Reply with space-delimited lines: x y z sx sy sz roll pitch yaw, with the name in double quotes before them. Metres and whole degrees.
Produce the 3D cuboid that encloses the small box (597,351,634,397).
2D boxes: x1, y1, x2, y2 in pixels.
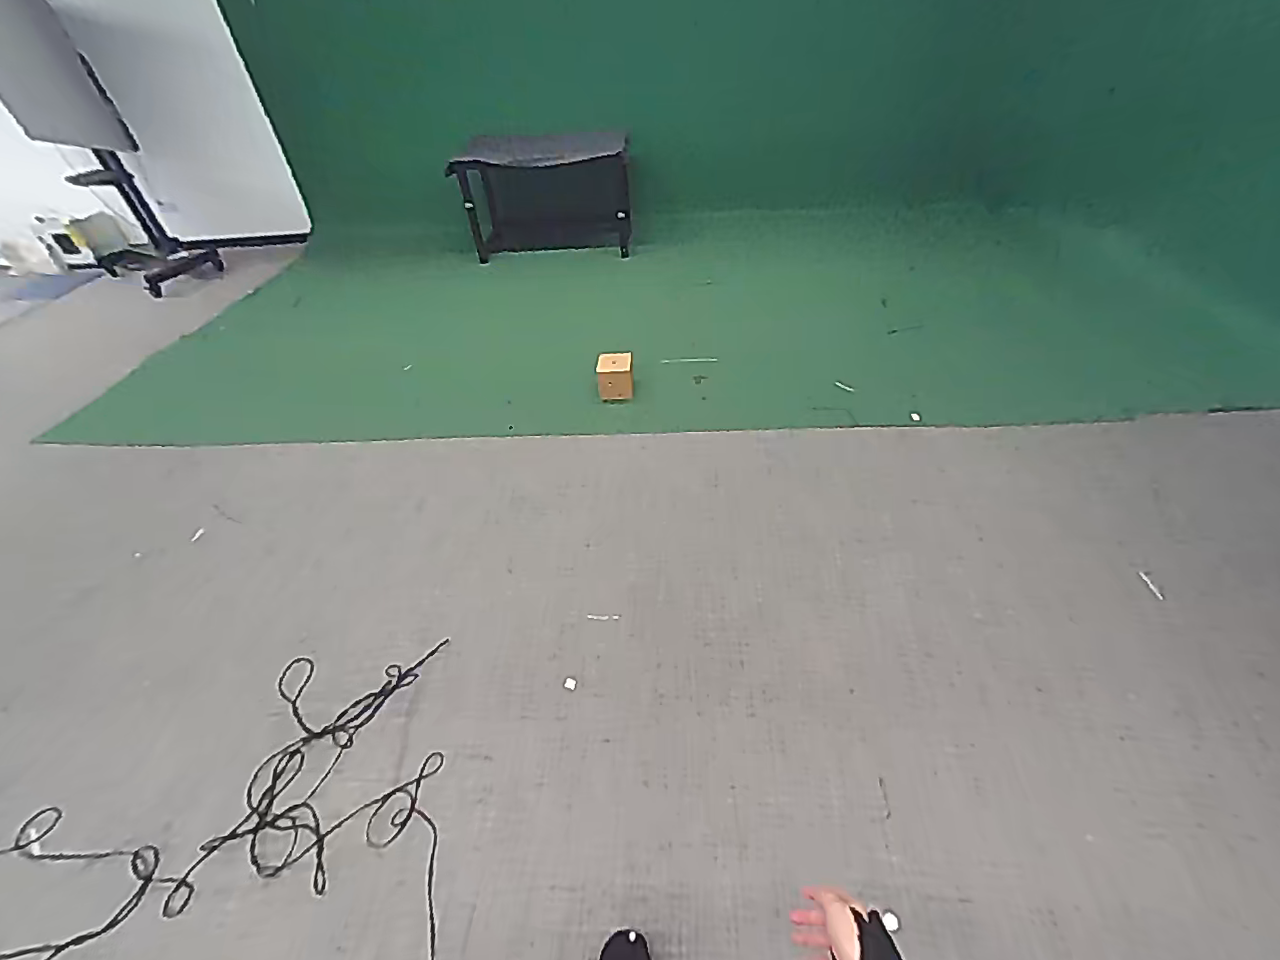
"small box" -0.119 -0.531 2.727 0.168 0.176 0.179 -2 41 4
